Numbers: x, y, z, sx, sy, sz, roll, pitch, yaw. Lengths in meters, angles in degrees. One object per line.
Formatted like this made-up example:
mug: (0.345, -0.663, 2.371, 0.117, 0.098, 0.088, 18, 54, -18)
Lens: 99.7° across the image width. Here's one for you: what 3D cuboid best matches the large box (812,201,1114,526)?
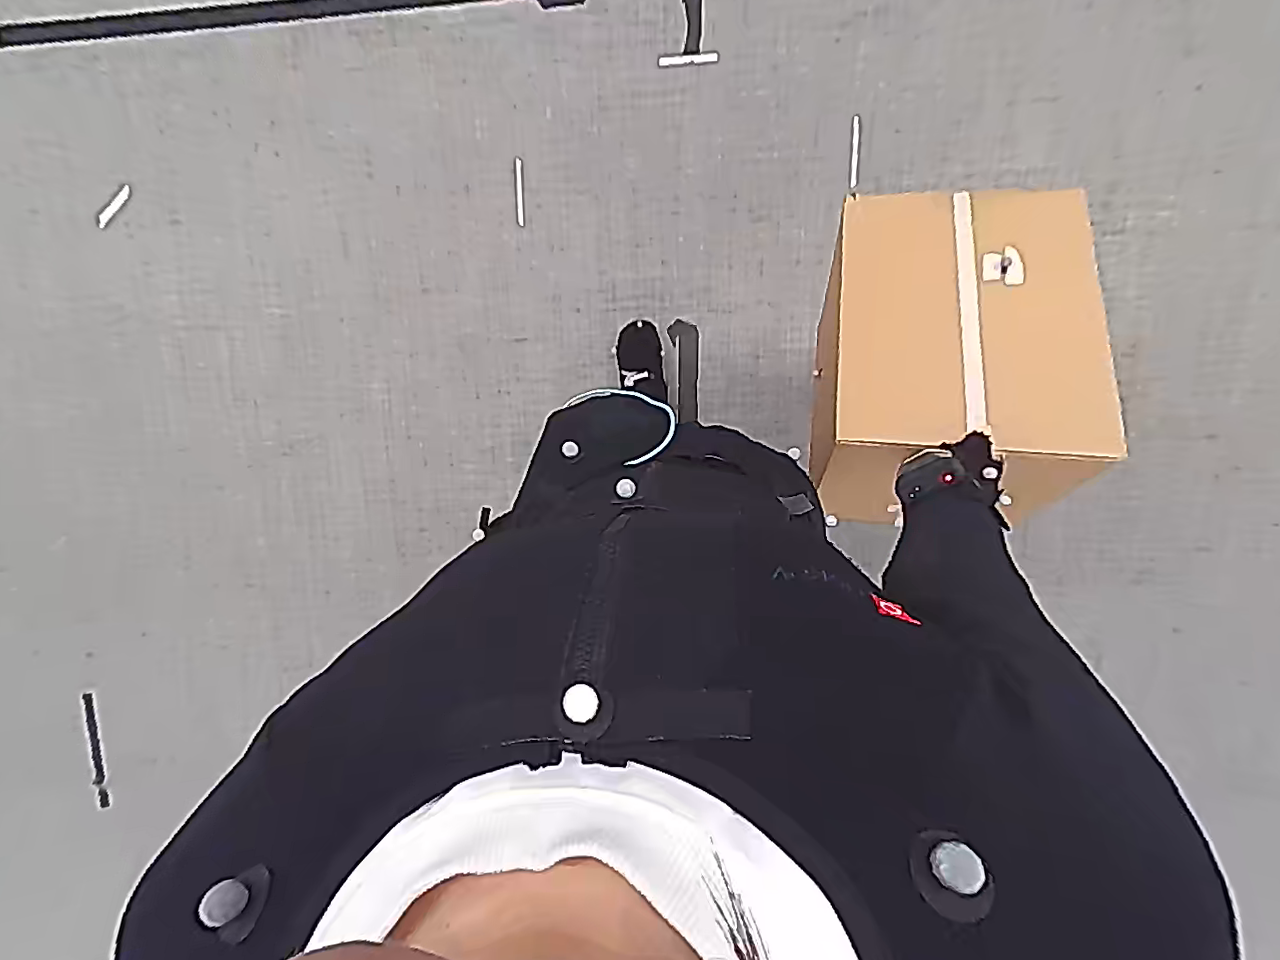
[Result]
large box: (0.453, -0.168, 0.863, 0.320, 0.320, 0.408, 5, 68, 11)
